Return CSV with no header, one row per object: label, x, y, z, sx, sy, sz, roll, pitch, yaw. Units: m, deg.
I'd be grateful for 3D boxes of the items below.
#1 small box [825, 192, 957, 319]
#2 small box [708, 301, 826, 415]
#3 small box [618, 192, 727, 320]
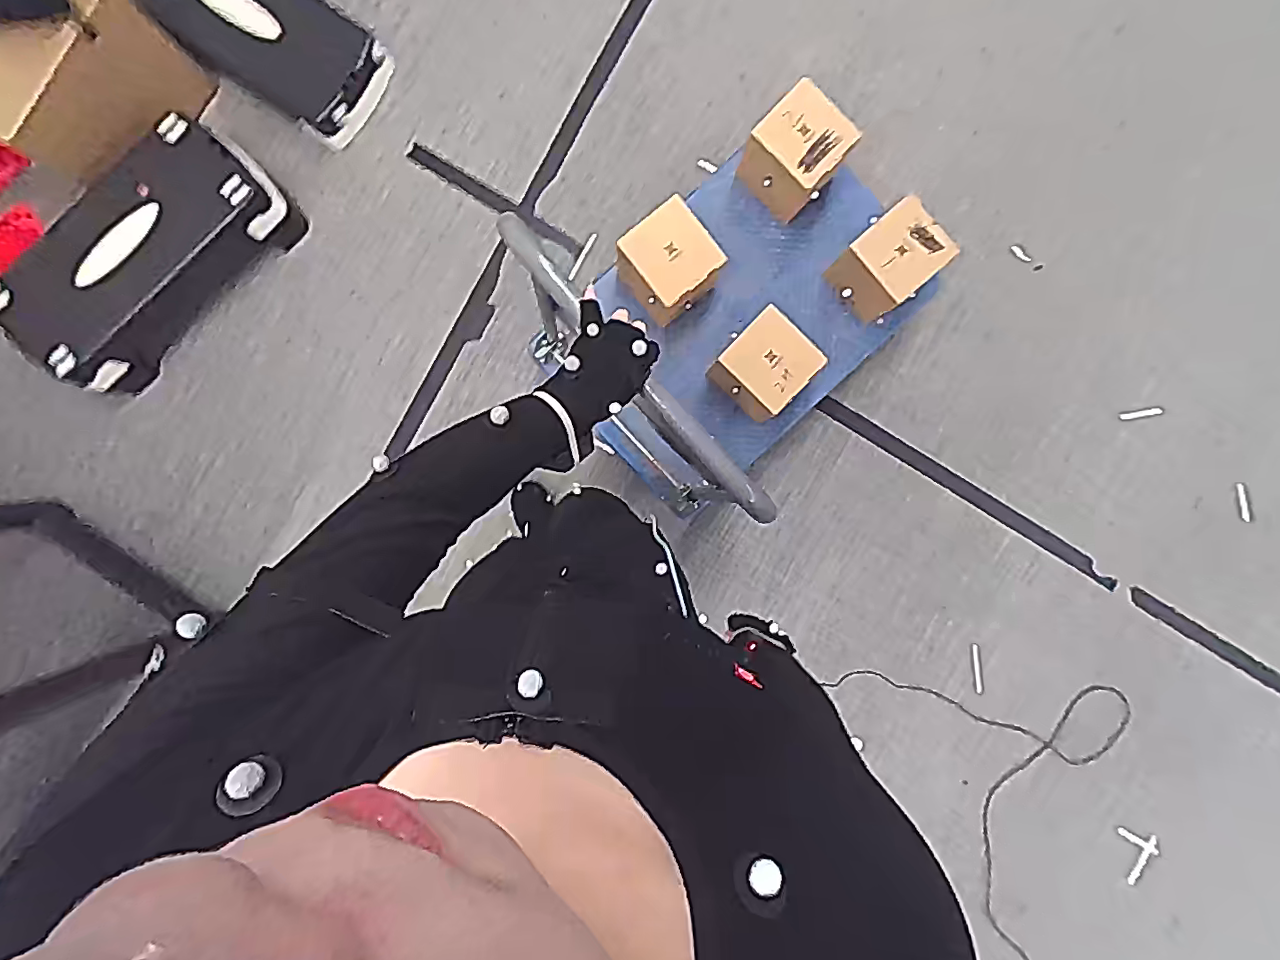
small box,0.556,-0.496,1.222,0.179,0.176,0.168,-41,92,1
small box,0.275,-0.262,1.218,0.179,0.176,0.168,44,90,-3
small box,0.062,-0.486,1.204,0.168,0.176,0.179,-39,94,-1
